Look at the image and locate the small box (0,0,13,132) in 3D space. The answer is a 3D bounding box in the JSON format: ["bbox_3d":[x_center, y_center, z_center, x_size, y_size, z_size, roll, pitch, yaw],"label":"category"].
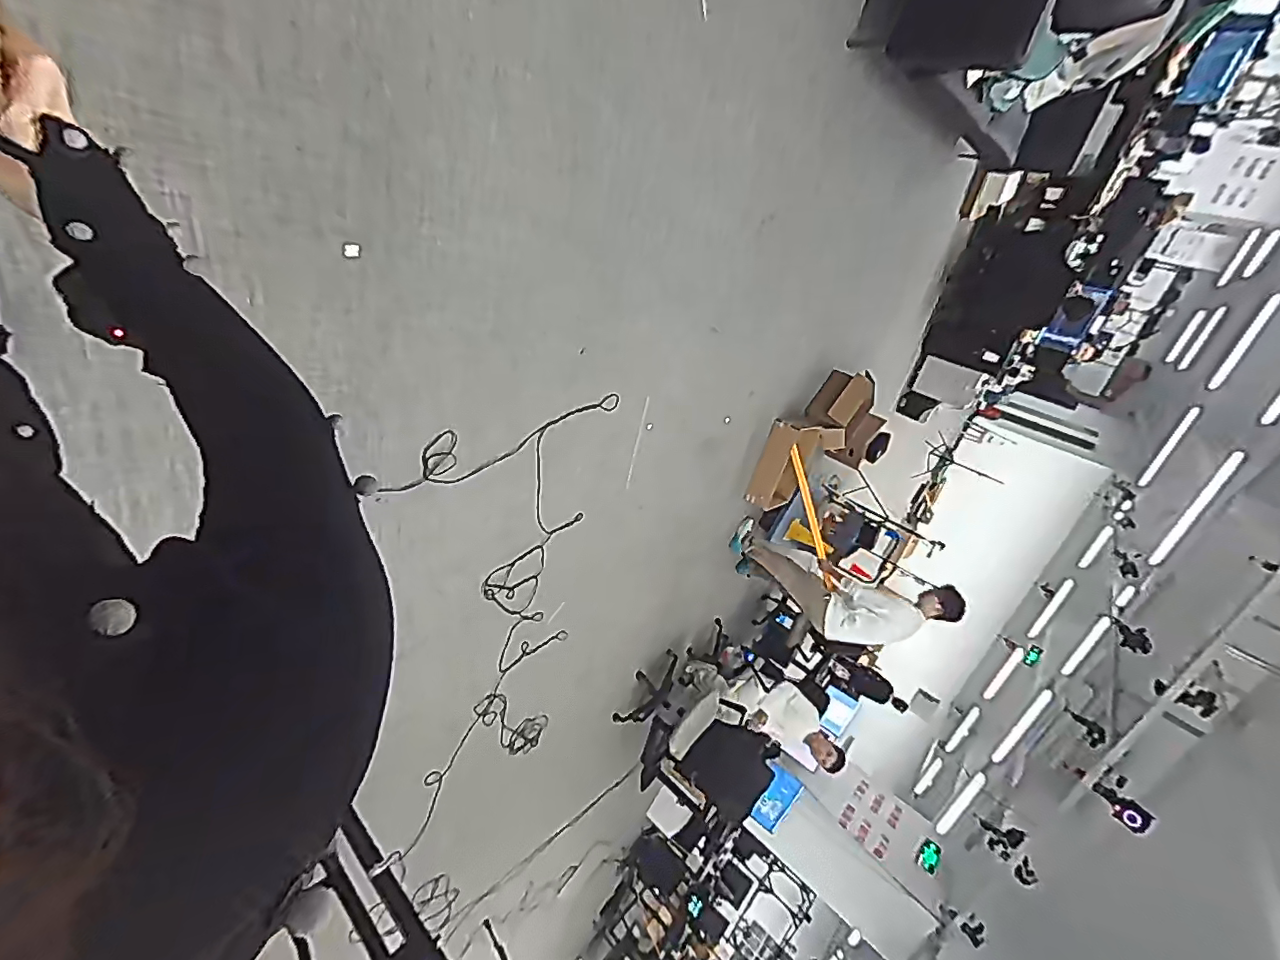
[{"bbox_3d":[-0.488,-0.317,0.296,0.179,0.176,0.168,-10,97,-48],"label":"small box"}]
